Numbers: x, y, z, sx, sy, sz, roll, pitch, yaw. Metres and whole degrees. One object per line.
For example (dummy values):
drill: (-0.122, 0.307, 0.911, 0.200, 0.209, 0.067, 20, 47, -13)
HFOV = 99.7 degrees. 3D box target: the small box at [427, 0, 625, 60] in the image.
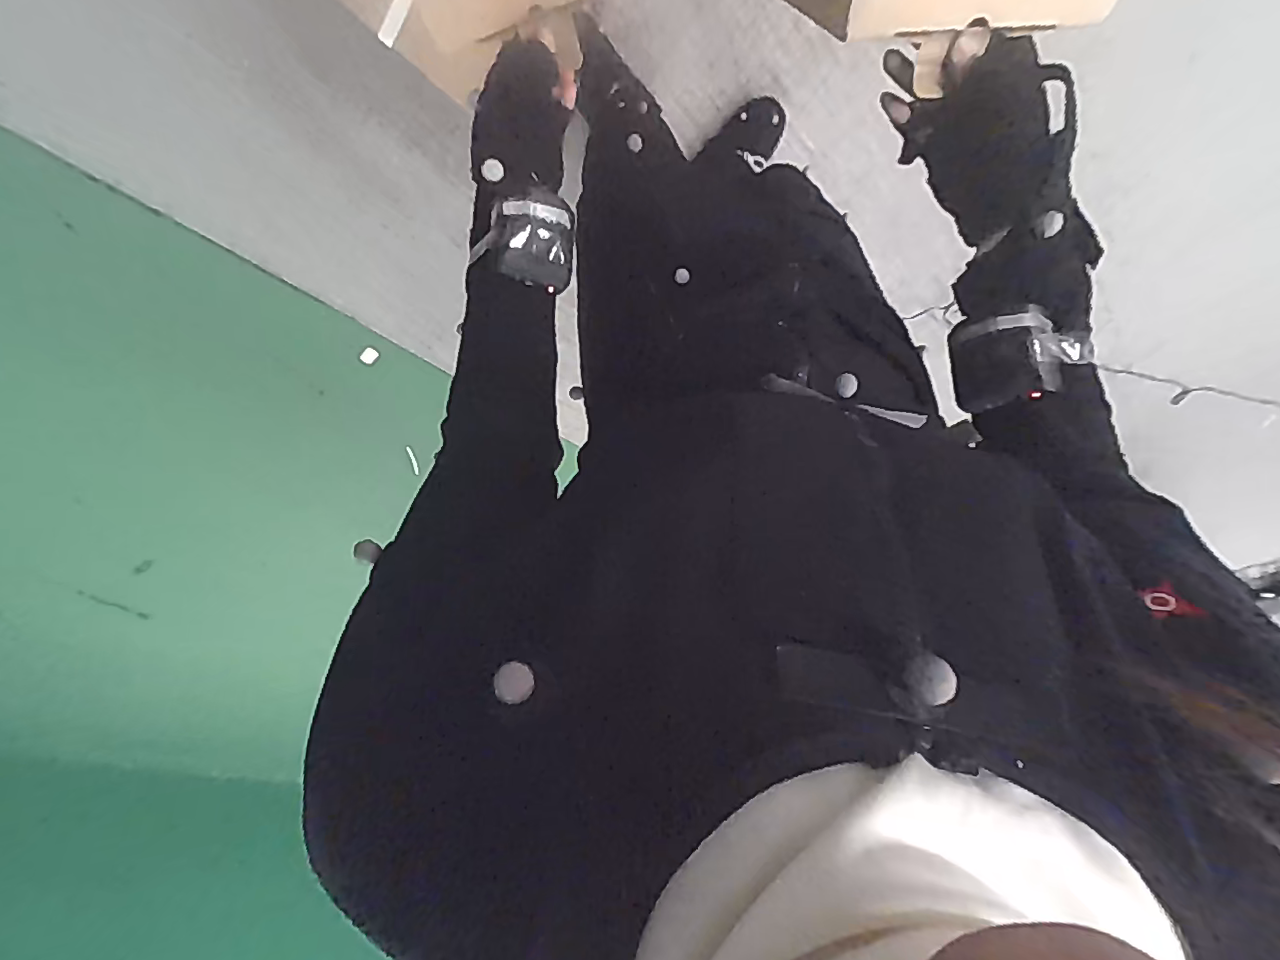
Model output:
small box: (-0.085, -0.453, 0.400, 0.168, 0.176, 0.179, -10, 132, 13)

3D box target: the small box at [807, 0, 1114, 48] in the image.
small box: (0.197, -0.387, 0.317, 0.168, 0.176, 0.179, -6, 142, -5)
